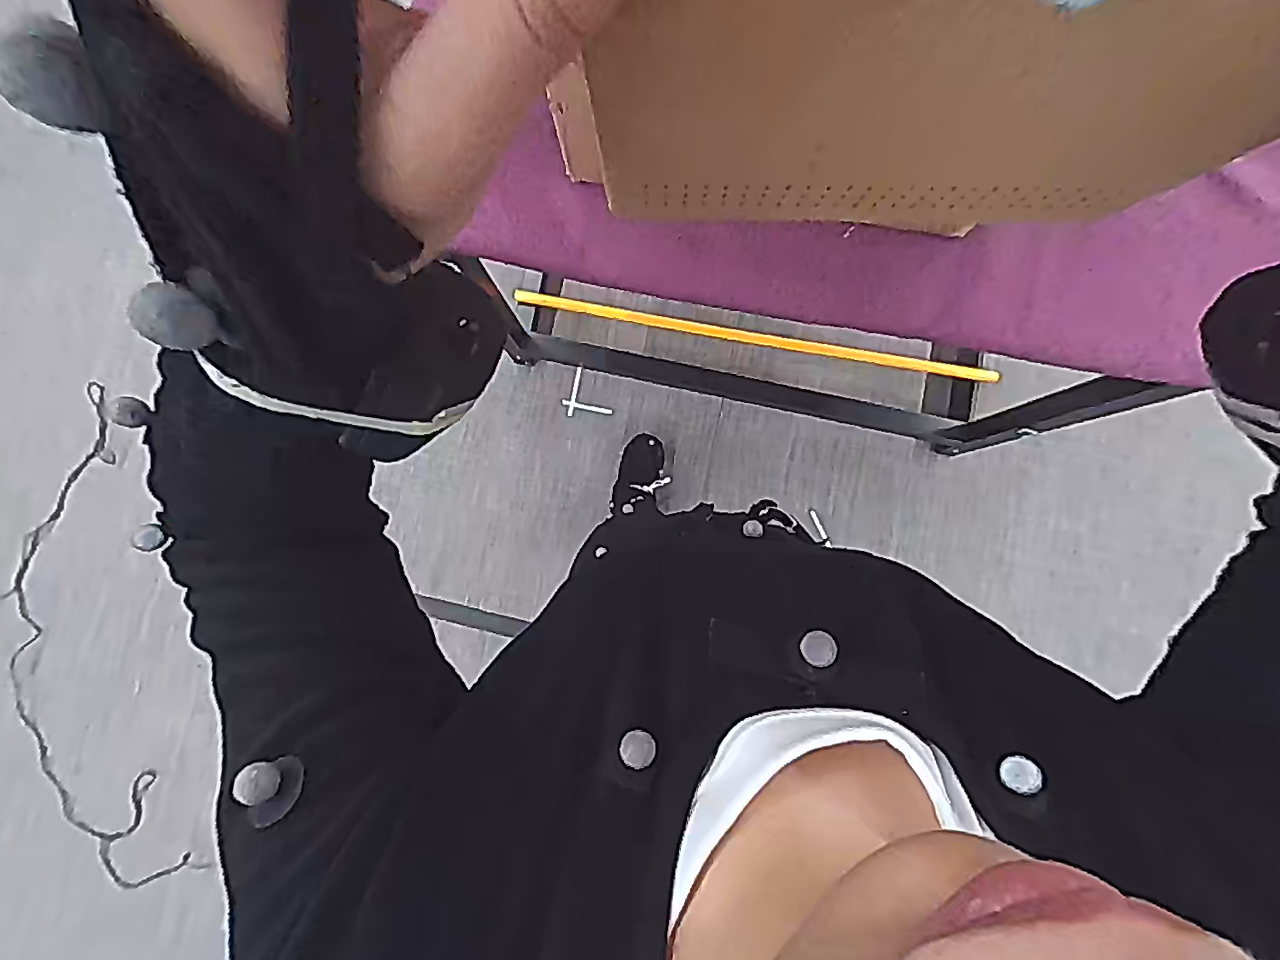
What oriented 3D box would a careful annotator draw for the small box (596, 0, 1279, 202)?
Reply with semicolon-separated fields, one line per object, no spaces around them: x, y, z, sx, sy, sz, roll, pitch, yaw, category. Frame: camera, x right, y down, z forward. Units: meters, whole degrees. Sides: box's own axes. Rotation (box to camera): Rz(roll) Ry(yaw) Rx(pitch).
0.077;-0.170;0.104;0.179;0.176;0.168;1;96;1;small box
